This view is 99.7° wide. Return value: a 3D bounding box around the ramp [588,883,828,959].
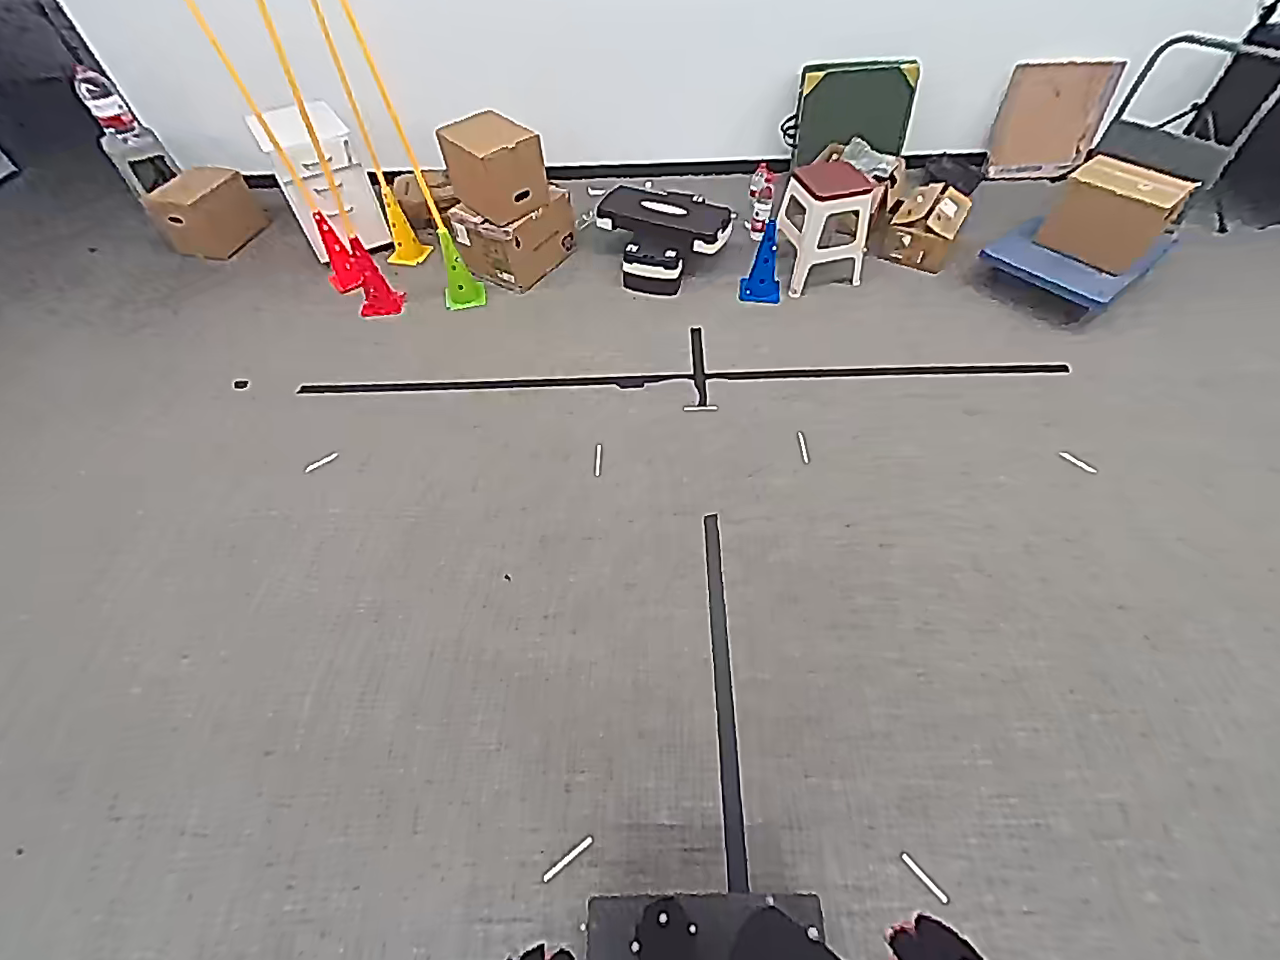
[{"bbox_3d":[0.145,1.309,0.931,0.509,0.206,0.991,-2,53,-1],"label":"ramp"}]
